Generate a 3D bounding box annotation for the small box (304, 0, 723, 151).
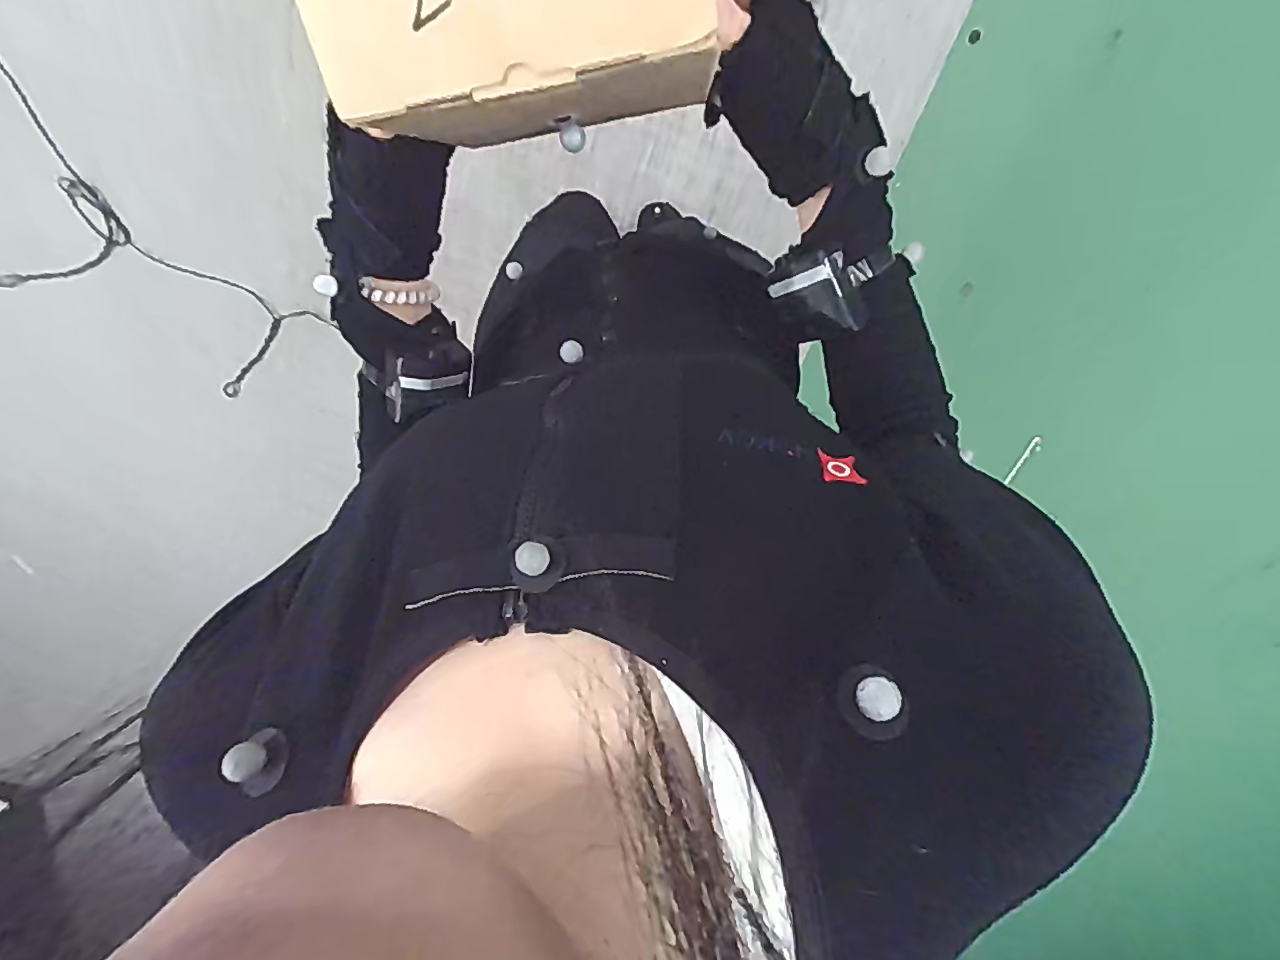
[{"bbox_3d":[-0.054,-0.274,0.256,0.168,0.176,0.179,-6,118,8],"label":"small box"}]
